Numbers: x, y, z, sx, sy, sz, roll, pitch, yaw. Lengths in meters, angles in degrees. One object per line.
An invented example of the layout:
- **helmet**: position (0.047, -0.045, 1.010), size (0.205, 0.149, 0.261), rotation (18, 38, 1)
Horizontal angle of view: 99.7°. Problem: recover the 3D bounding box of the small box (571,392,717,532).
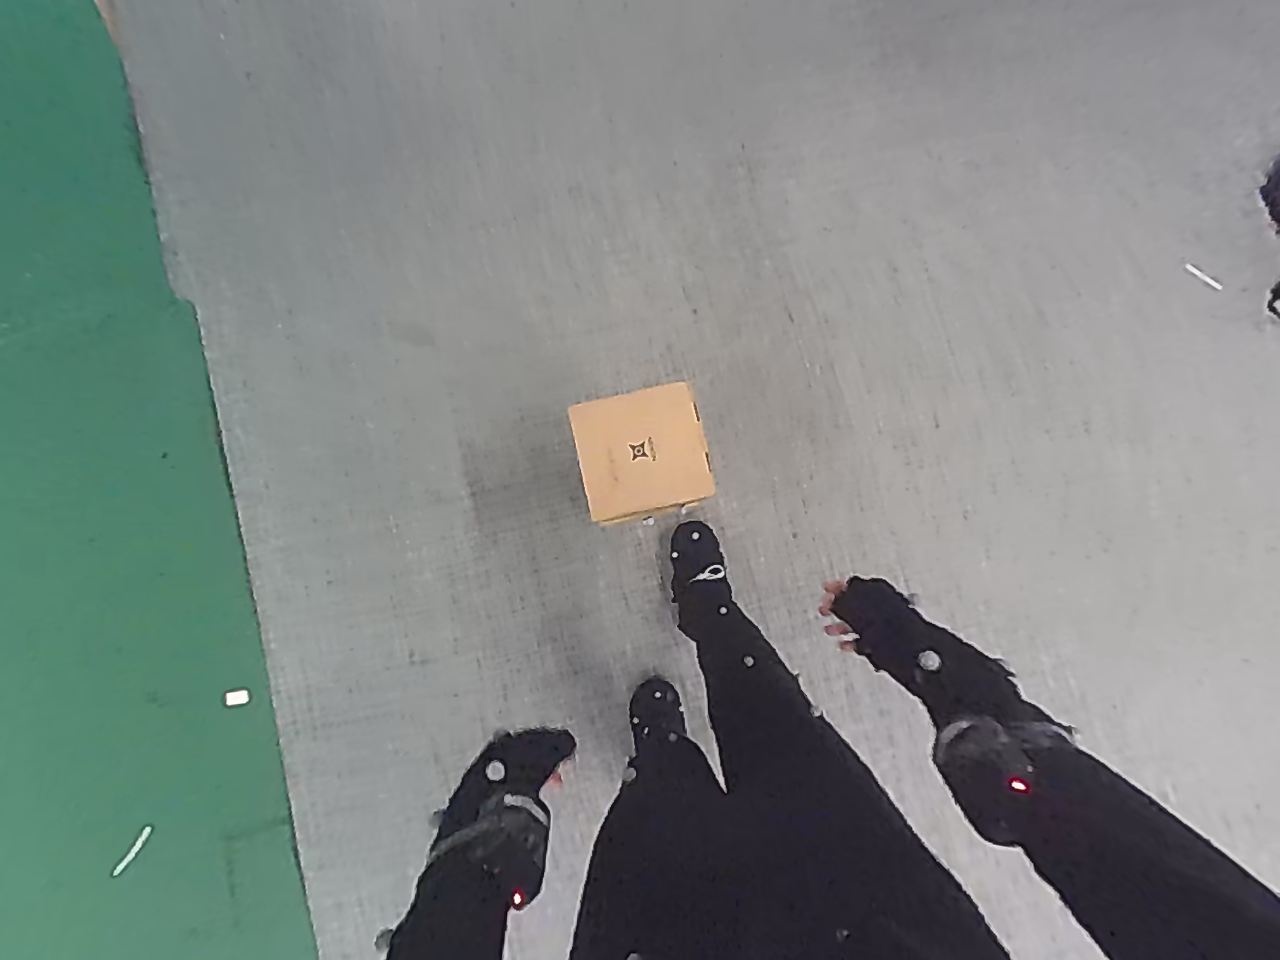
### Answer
- **small box**: position (0.004, -0.021, 0.825), size (0.179, 0.176, 0.168), rotation (-14, 84, 0)
